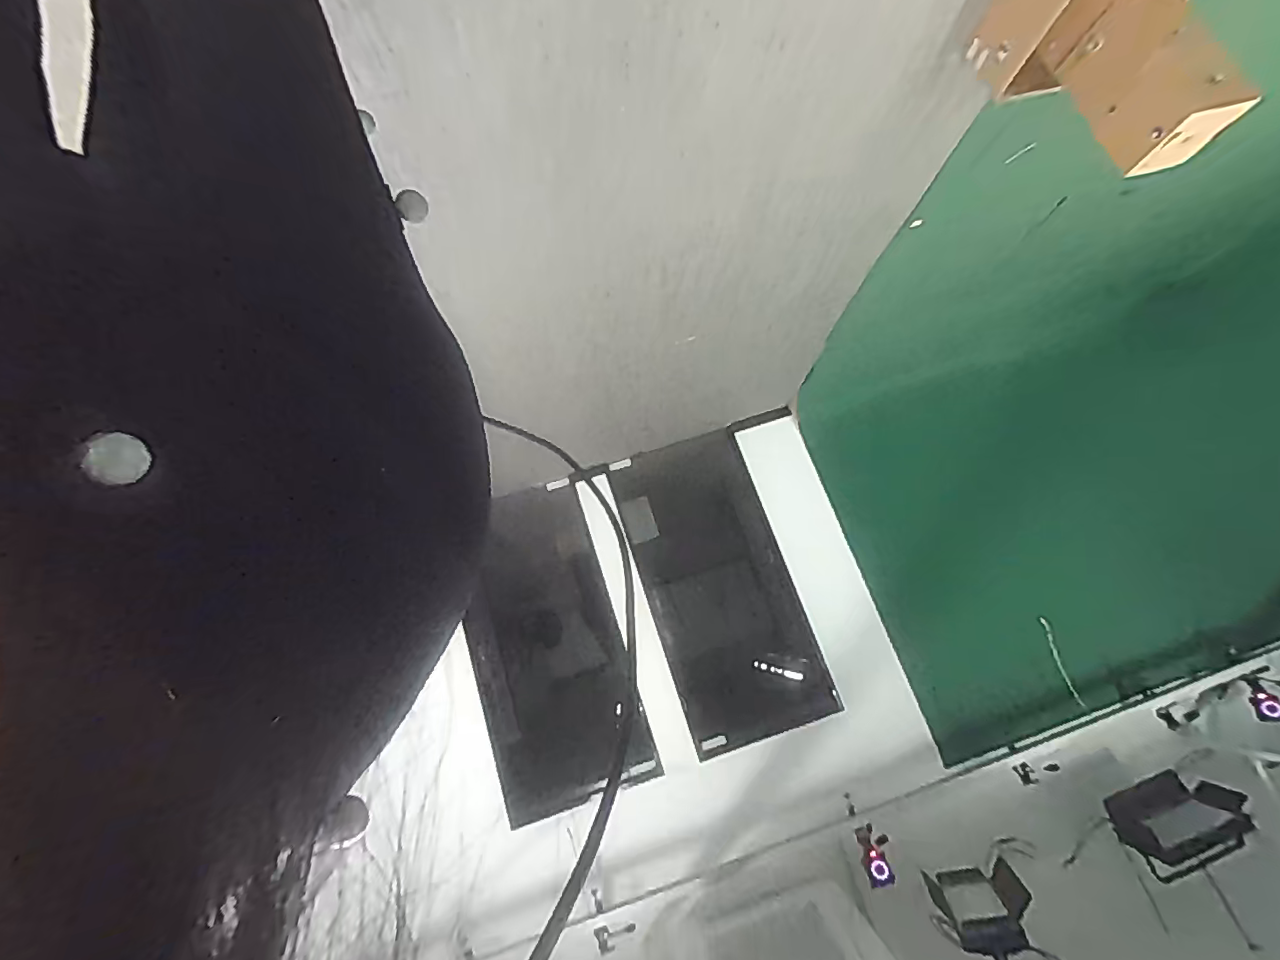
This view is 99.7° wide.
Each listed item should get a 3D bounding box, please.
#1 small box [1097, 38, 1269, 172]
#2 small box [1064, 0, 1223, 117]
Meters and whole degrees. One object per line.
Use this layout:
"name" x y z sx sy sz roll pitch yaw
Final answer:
"small box" 1.189 -0.830 1.198 0.179 0.176 0.168 -17 165 -6
"small box" 1.141 -0.982 1.239 0.179 0.176 0.168 -14 164 -9
